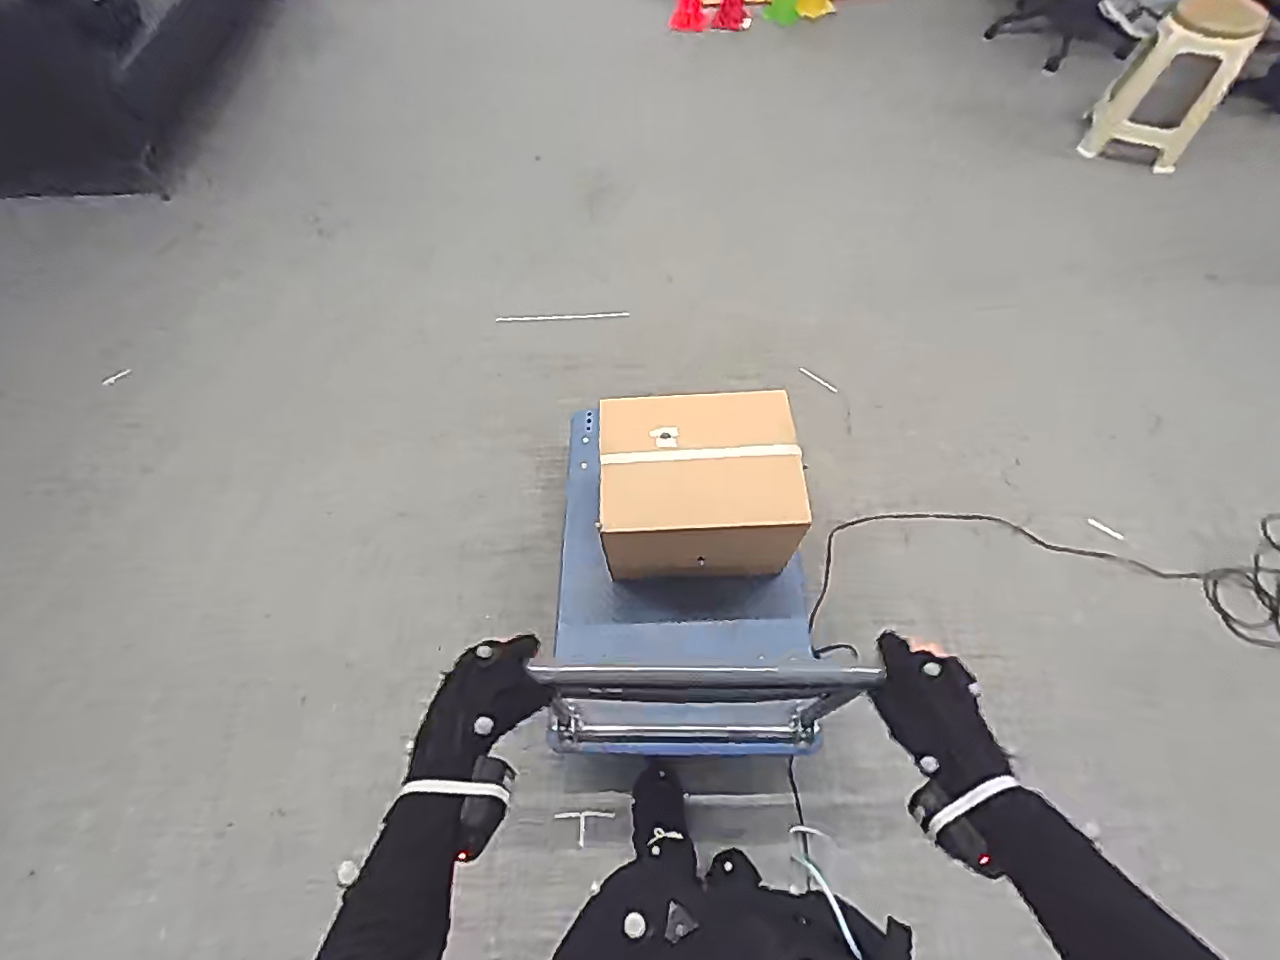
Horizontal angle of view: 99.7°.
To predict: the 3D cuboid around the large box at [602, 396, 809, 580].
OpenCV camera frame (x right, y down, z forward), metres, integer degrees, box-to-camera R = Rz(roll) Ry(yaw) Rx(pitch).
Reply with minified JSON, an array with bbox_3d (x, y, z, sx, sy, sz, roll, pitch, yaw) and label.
[{"bbox_3d":[0.130,0.032,1.235,0.408,0.320,0.320,-2,62,2],"label":"large box"}]
